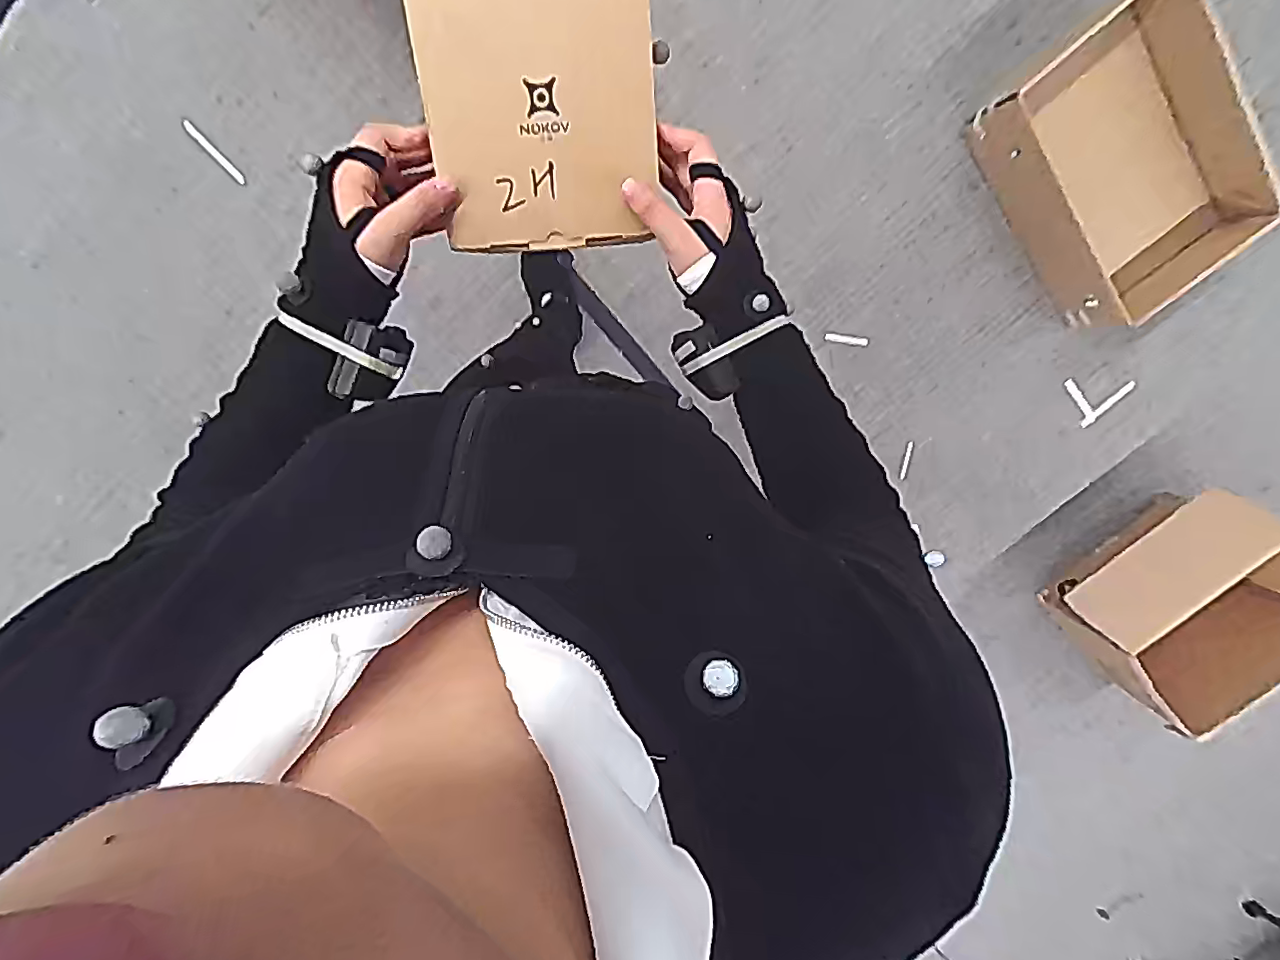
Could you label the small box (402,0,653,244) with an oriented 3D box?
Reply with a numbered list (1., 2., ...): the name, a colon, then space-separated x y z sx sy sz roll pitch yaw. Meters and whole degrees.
1. small box: -0.081 -0.303 0.456 0.168 0.176 0.179 -5 112 -2
